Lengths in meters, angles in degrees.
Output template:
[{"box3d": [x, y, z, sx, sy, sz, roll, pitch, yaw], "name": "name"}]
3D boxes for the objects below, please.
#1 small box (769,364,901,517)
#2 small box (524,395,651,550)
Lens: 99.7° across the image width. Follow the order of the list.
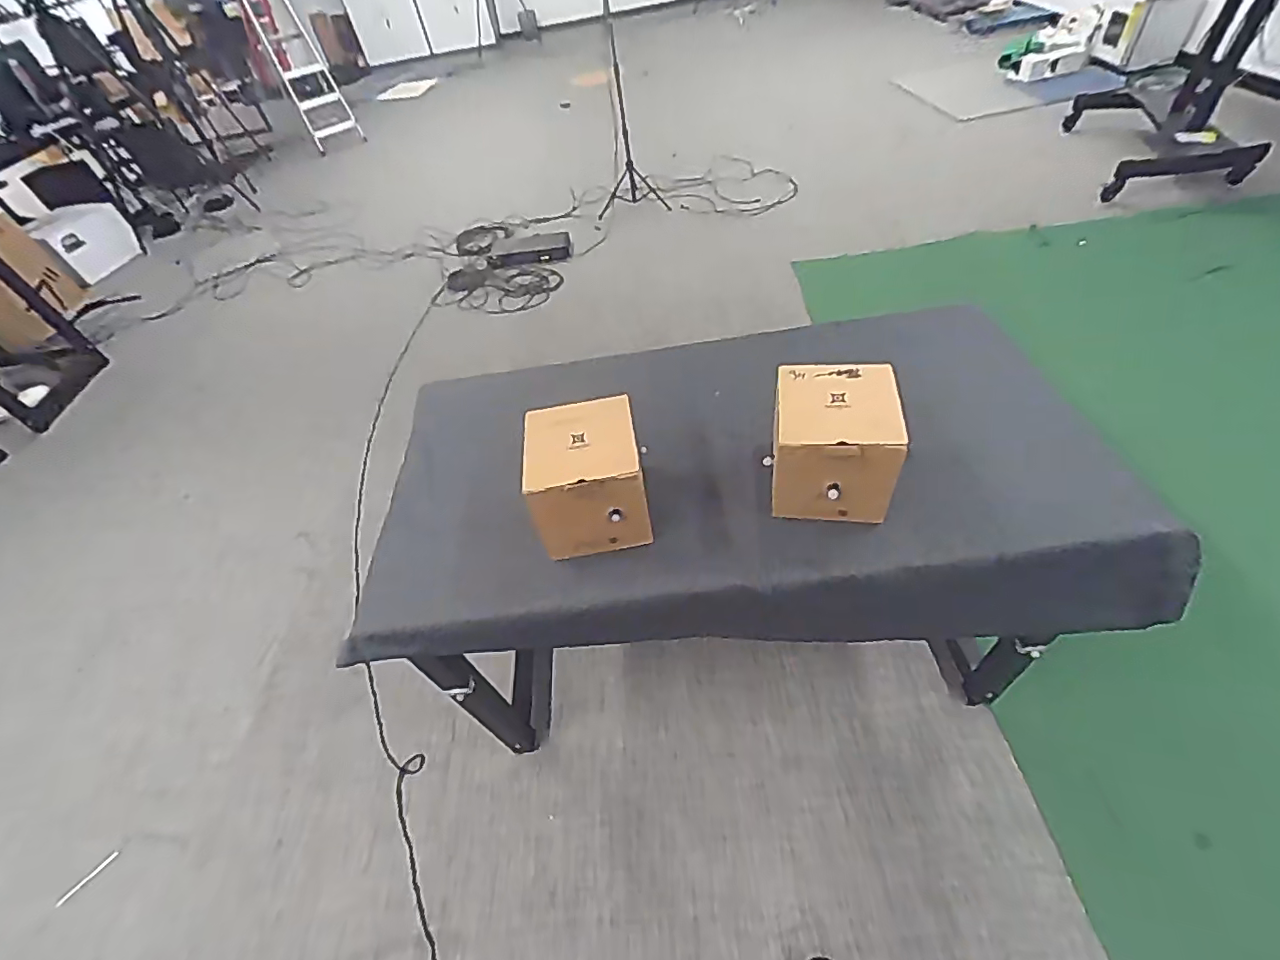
[{"box3d": [0.290, -0.059, 0.839, 0.168, 0.176, 0.179, 2, 50, 12], "name": "small box"}, {"box3d": [-0.080, -0.005, 0.858, 0.168, 0.176, 0.179, -10, 46, -1], "name": "small box"}]
